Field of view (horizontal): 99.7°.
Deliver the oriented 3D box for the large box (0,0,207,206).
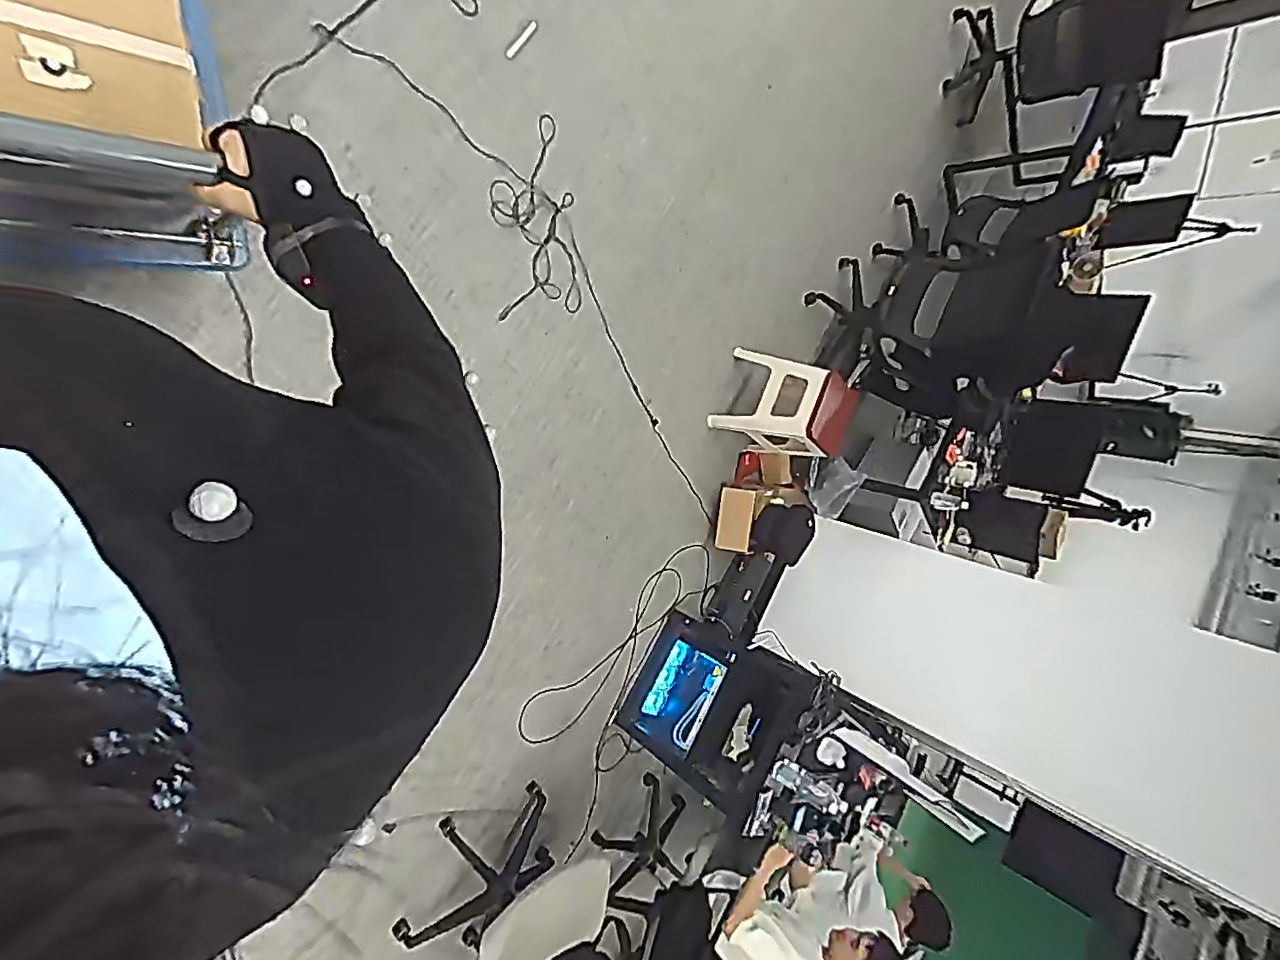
[{"bbox_3d":[-0.859,-0.564,0.691,0.408,0.320,0.320,-15,114,-44],"label":"large box"}]
